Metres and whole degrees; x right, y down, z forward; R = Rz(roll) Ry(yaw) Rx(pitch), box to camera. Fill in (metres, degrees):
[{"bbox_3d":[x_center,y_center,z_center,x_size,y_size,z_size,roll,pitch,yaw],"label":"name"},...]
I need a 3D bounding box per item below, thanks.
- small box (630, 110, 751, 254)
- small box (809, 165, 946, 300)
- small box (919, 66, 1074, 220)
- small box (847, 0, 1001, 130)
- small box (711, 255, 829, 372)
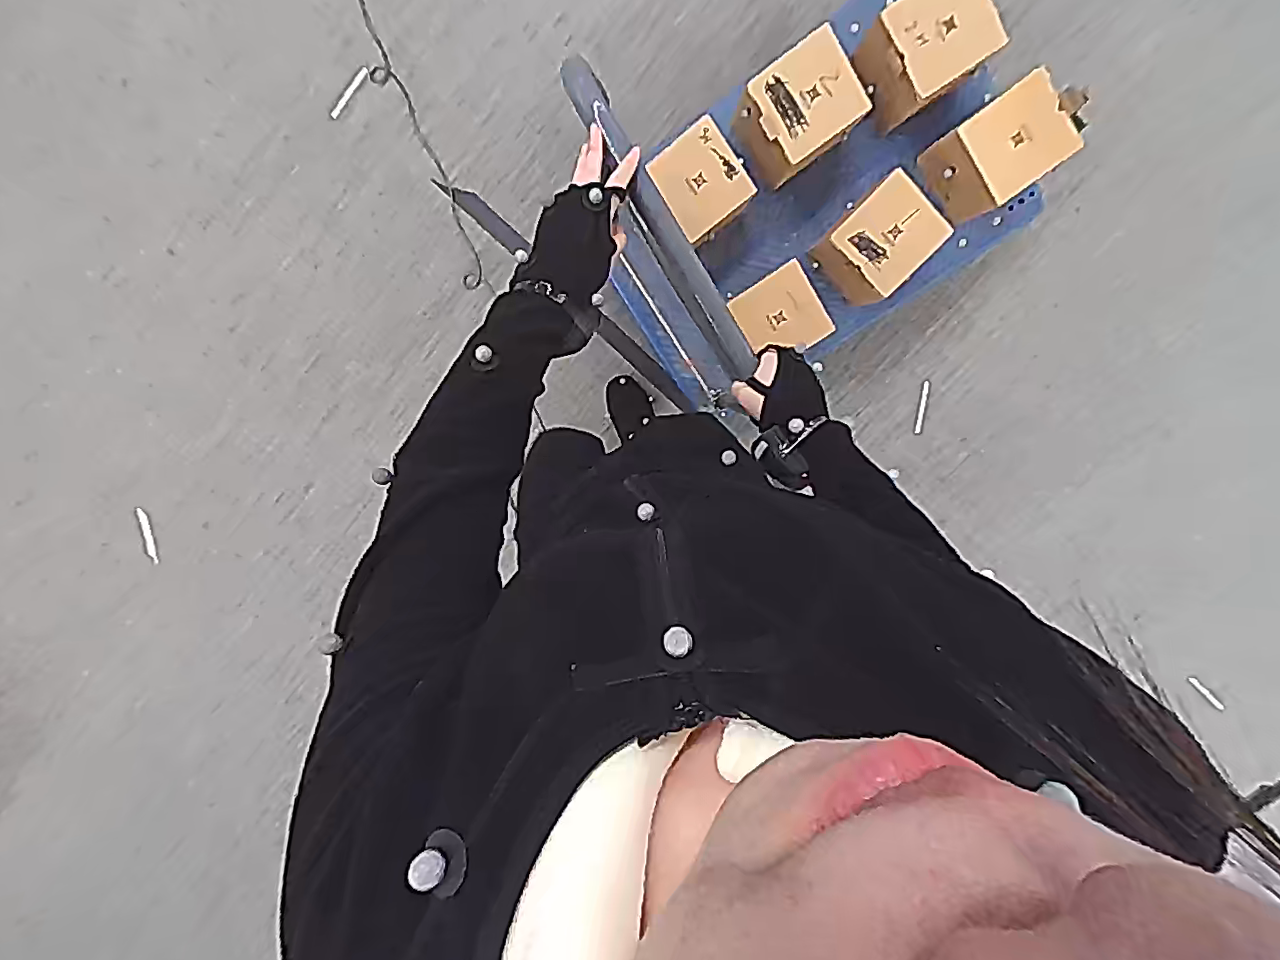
[{"bbox_3d":[0.098,-0.586,1.095,0.179,0.176,0.168,-36,102,8],"label":"small box"},{"bbox_3d":[0.473,-0.495,1.117,0.168,0.176,0.179,44,99,-9],"label":"small box"},{"bbox_3d":[0.692,-0.654,1.079,0.179,0.176,0.168,-35,100,8],"label":"small box"},{"bbox_3d":[0.533,-0.824,1.038,0.179,0.176,0.168,-30,101,8],"label":"small box"},{"bbox_3d":[0.265,-0.346,1.154,0.179,0.176,0.168,-32,102,7],"label":"small box"}]
